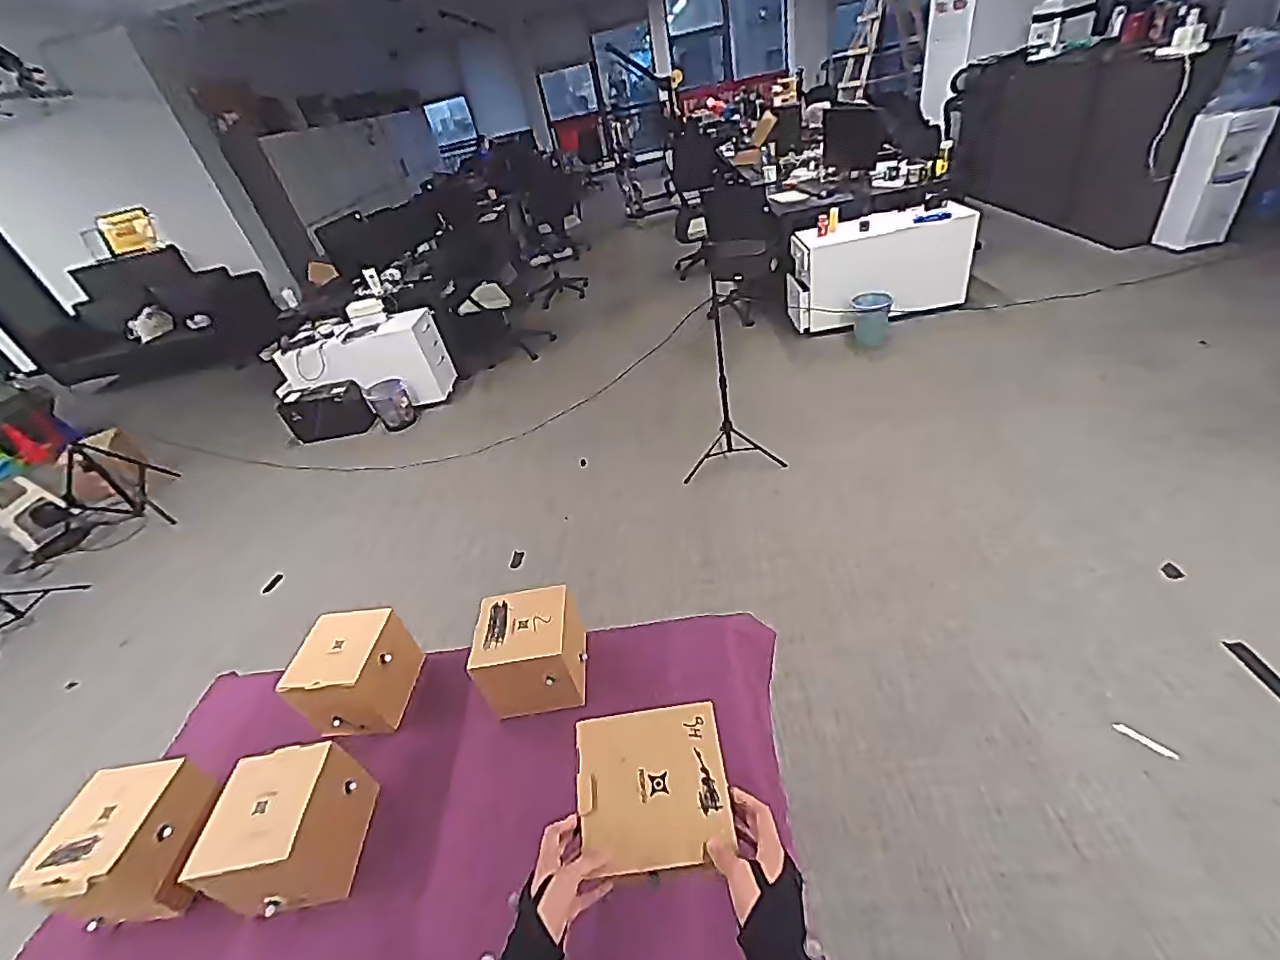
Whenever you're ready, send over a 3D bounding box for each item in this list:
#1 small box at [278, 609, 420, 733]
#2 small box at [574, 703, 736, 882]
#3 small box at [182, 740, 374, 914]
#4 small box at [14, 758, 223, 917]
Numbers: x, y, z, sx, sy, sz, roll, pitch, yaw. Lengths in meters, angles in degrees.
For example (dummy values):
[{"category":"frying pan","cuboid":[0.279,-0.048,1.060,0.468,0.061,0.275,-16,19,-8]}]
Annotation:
[{"category":"small box","cuboid":[-0.574,0.388,1.100,0.168,0.176,0.179,-7,37,8]},{"category":"small box","cuboid":[0.021,0.403,0.691,0.179,0.176,0.168,-9,52,3]},{"category":"small box","cuboid":[-0.563,0.559,0.875,0.168,0.176,0.179,-12,36,3]},{"category":"small box","cuboid":[-0.833,0.599,0.903,0.168,0.176,0.179,-10,35,5]}]
